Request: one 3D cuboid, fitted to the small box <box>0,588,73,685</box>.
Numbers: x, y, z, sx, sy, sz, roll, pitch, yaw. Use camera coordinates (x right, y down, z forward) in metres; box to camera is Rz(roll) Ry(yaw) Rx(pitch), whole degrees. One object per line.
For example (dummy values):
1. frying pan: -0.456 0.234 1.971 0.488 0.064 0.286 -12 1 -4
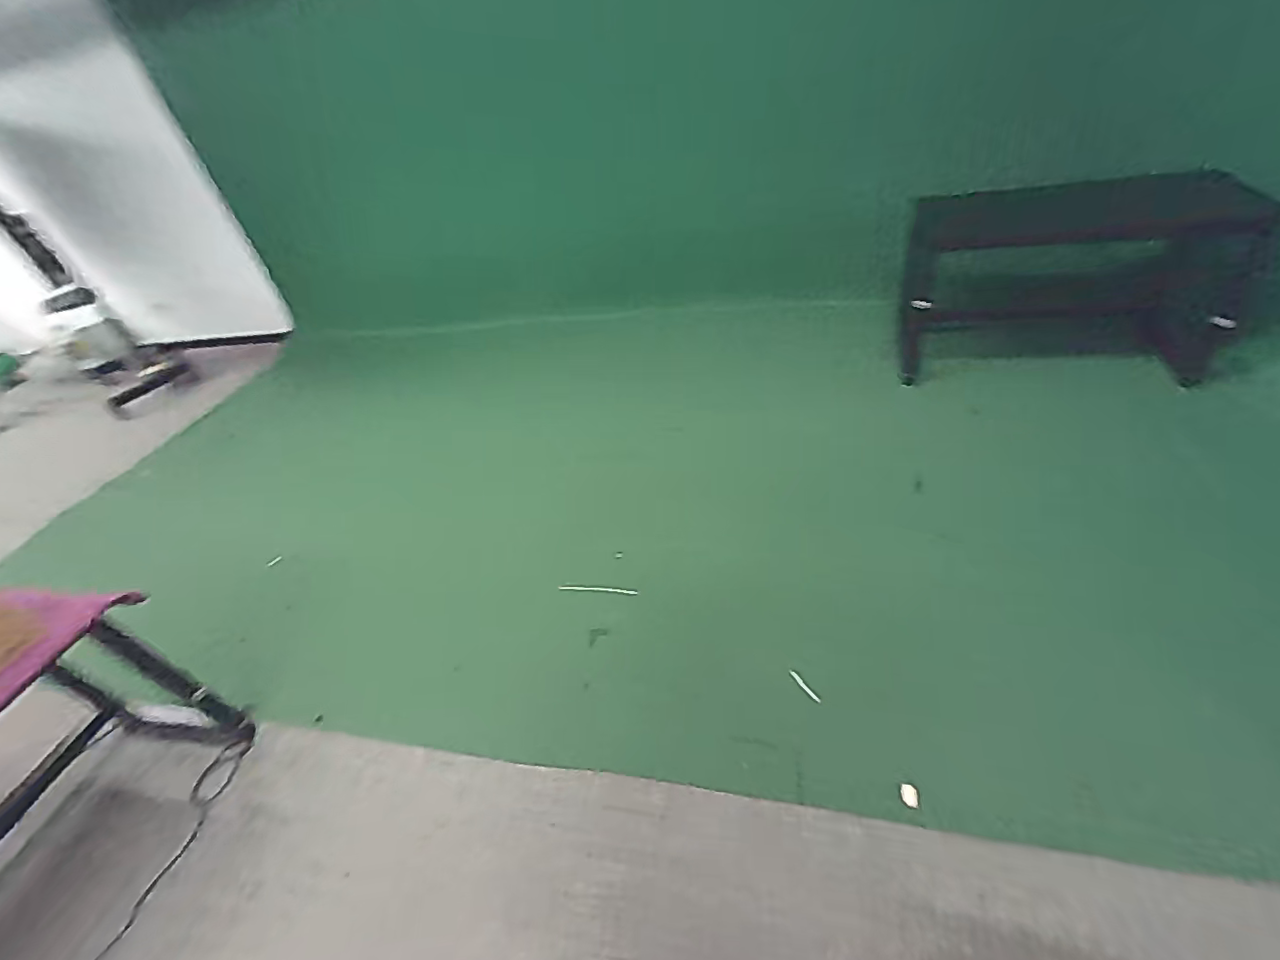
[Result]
1. small box: -1.566 0.376 1.306 0.179 0.176 0.168 1 44 17
